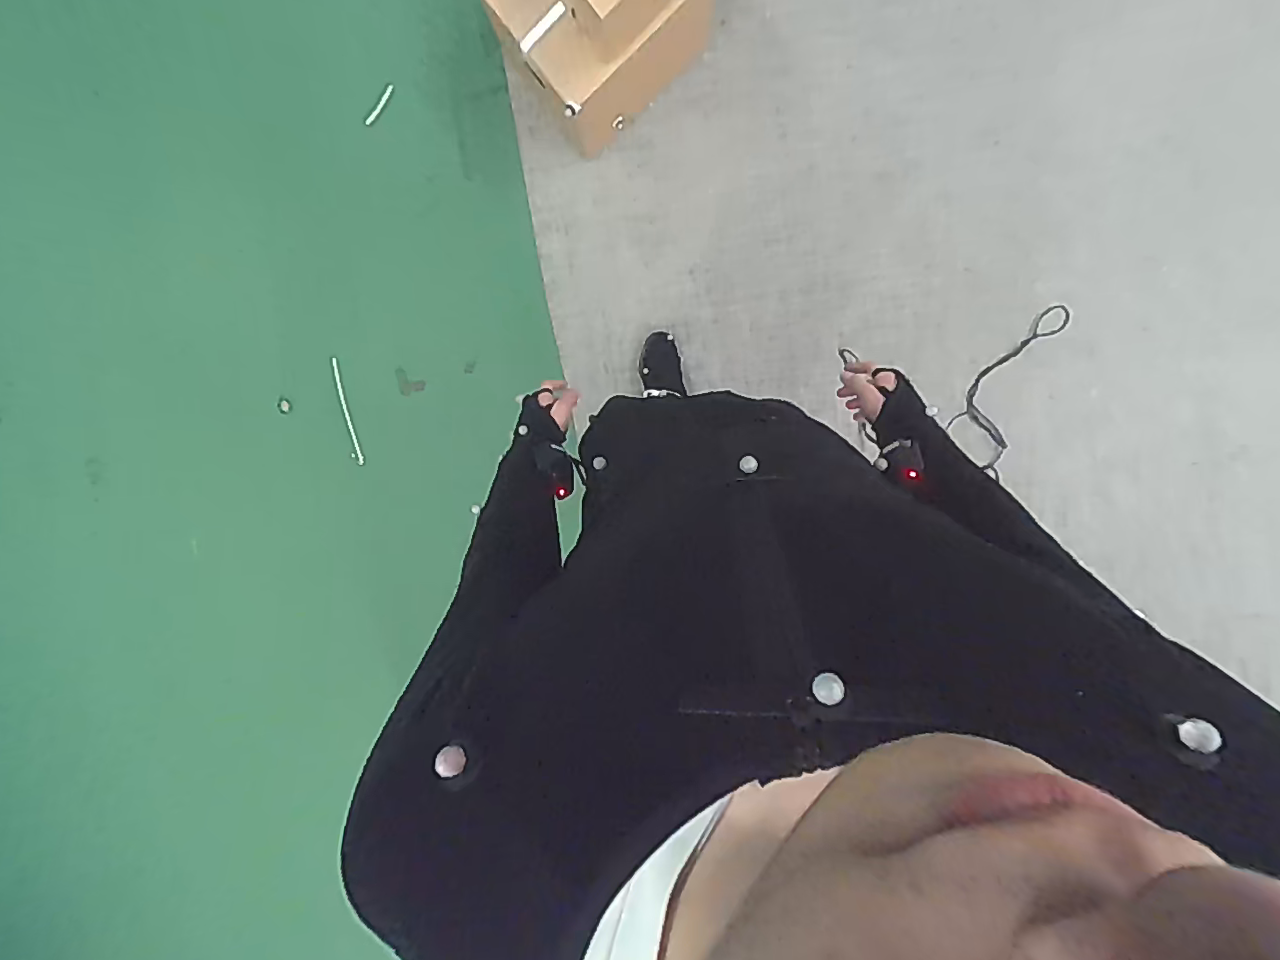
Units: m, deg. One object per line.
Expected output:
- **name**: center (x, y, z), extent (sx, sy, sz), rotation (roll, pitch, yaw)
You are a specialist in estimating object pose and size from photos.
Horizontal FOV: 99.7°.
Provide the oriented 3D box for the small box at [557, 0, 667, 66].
- **small box**: center (-0.056, -0.936, 1.003), extent (0.179, 0.176, 0.168), rotation (-40, 100, 9)
